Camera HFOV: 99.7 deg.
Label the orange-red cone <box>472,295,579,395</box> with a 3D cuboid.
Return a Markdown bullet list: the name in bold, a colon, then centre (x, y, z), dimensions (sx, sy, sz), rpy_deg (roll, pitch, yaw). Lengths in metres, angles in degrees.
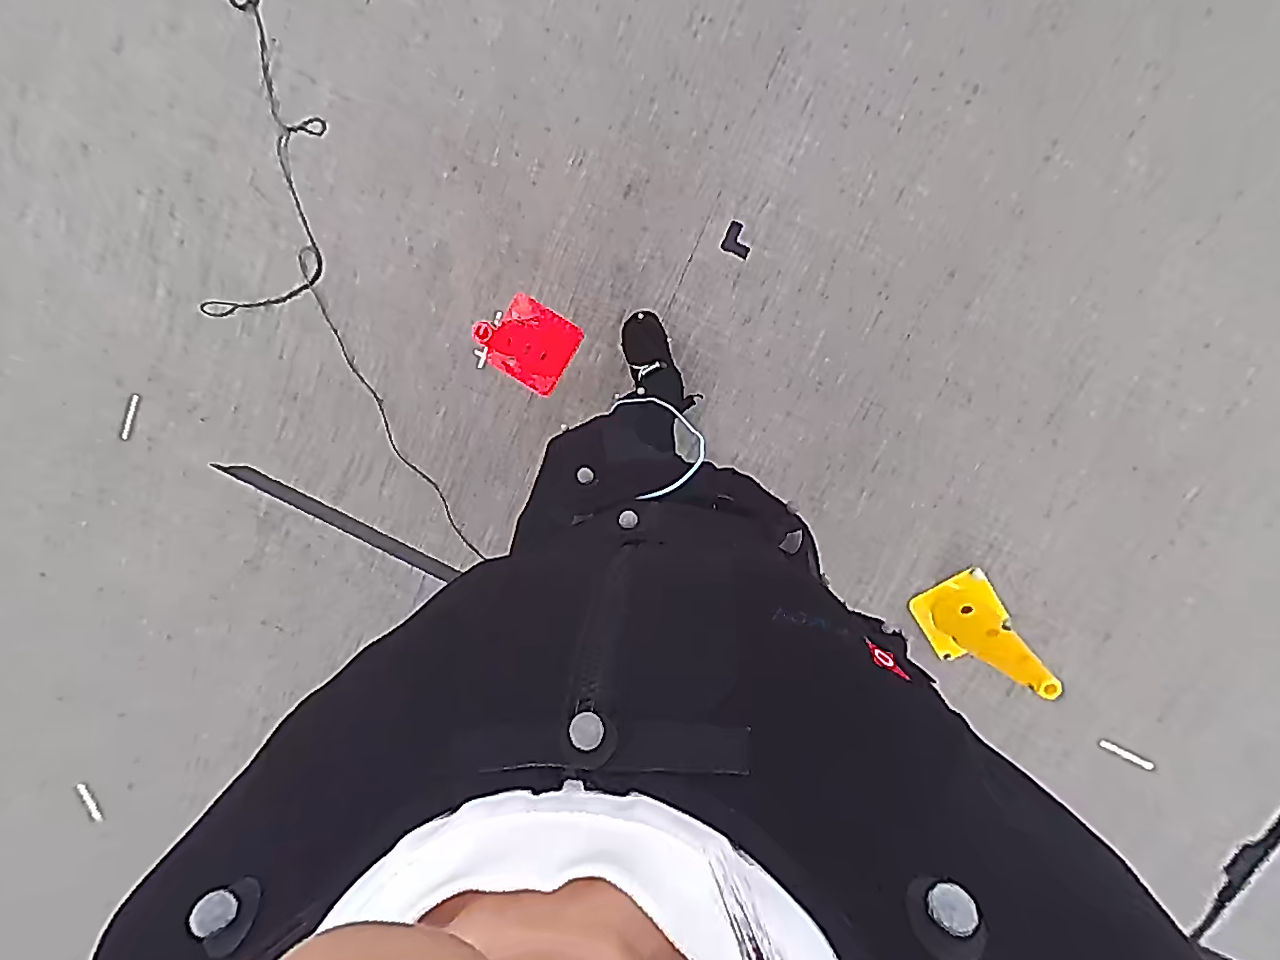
- **orange-red cone**: centre (-0.289, -0.311, 1.209), dimensions (0.199, 0.360, 0.198), rpy_deg (33, 102, -2)
